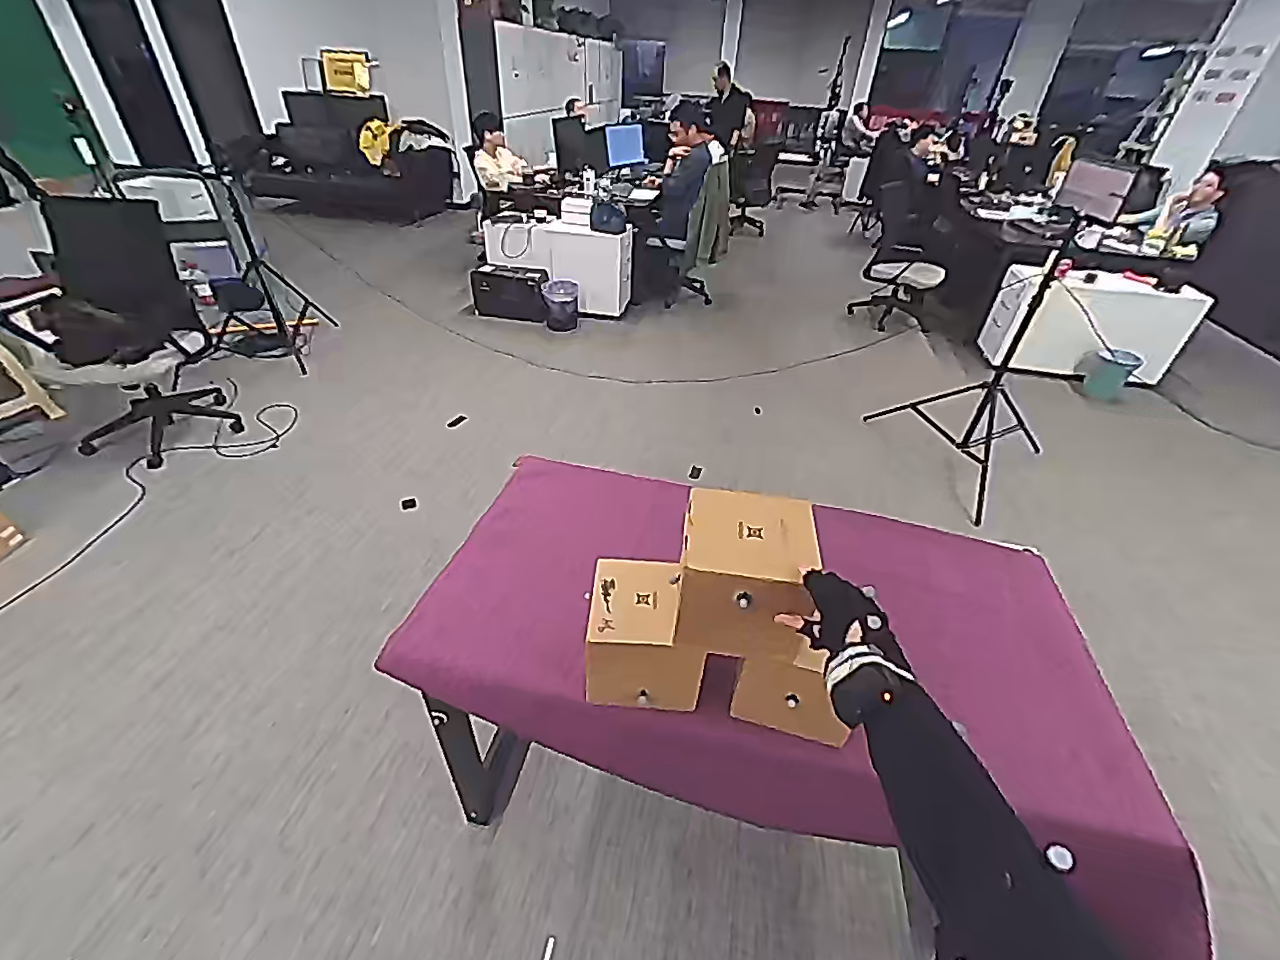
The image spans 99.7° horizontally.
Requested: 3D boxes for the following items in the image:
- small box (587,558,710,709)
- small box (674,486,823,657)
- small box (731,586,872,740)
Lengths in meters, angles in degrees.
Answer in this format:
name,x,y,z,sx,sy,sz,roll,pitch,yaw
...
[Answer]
name,x,y,z,sx,sy,sz,roll,pitch,yaw
small box,0.010,0.250,0.880,0.179,0.176,0.168,5,36,-1
small box,0.146,0.132,0.776,0.179,0.176,0.168,8,37,4
small box,0.252,0.281,0.857,0.179,0.176,0.168,12,37,12
